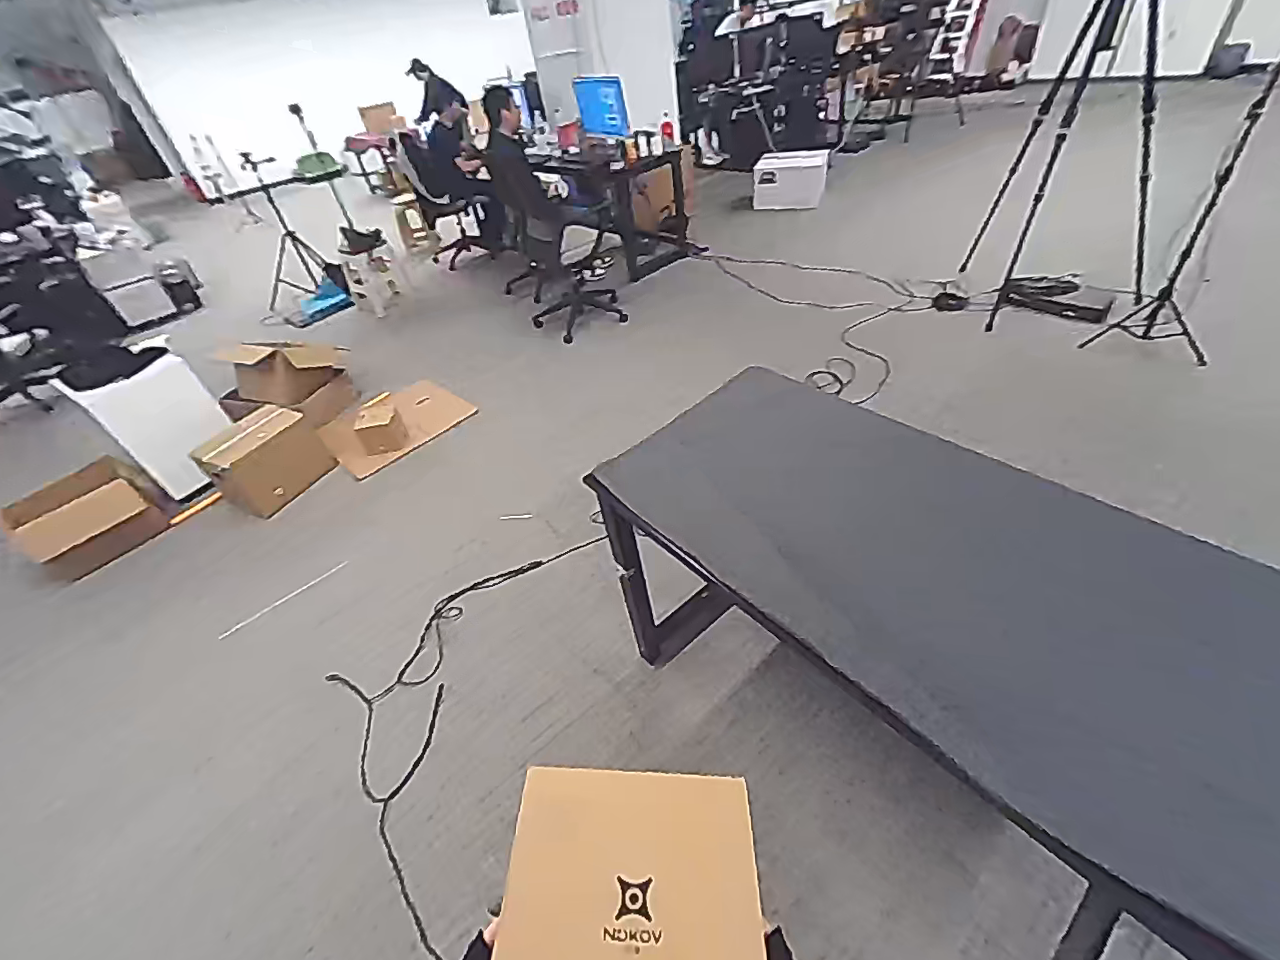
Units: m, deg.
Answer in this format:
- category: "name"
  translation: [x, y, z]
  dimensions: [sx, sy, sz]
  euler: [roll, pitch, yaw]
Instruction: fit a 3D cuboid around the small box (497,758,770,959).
- category: "small box"
  translation: [-0.007, 0.332, 0.390]
  dimensions: [0.168, 0.176, 0.179]
  euler: [4, 39, 0]
